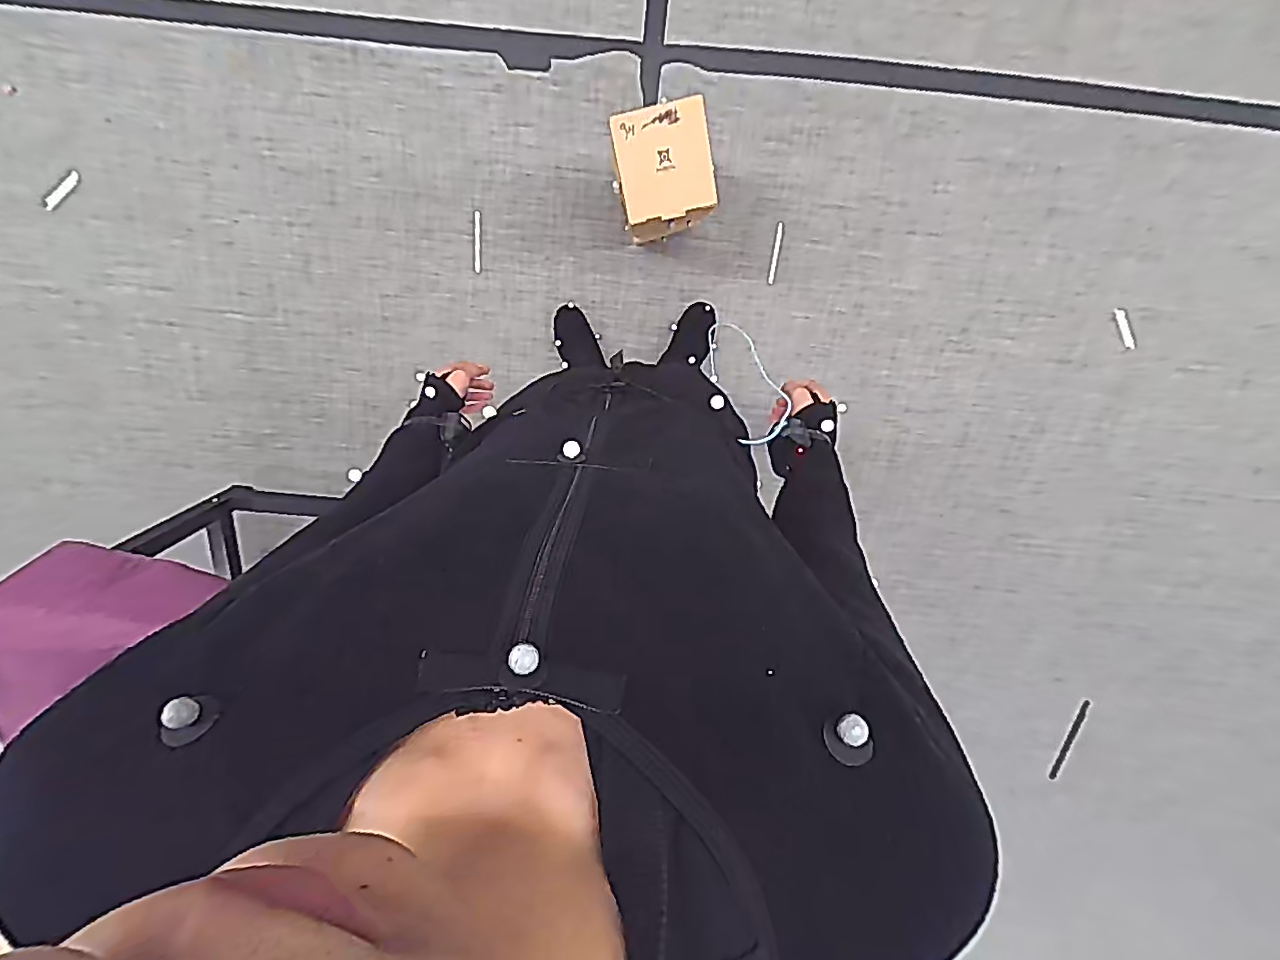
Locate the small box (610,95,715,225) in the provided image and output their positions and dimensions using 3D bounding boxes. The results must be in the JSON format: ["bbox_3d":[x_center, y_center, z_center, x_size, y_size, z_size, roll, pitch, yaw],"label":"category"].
[{"bbox_3d":[0.043,-0.594,1.028,0.168,0.176,0.179,-11,111,4],"label":"small box"}]
